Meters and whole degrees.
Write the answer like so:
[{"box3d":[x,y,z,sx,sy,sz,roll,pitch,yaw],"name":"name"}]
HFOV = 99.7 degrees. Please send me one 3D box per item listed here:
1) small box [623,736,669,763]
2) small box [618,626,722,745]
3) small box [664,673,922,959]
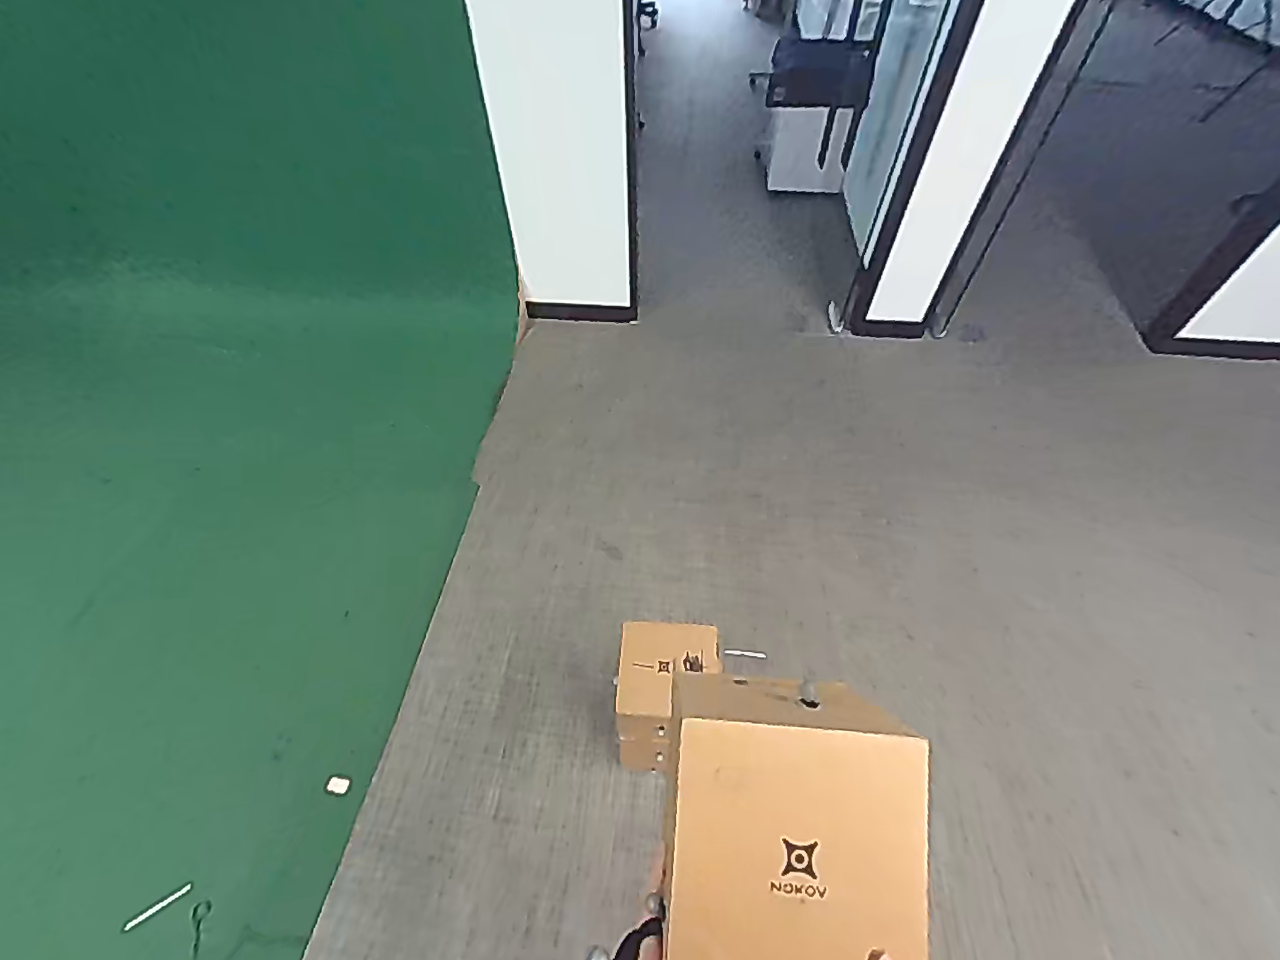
[{"box3d":[0.054,0.486,1.143,0.168,0.176,0.179,1,53,3],"name":"small box"},{"box3d":[0.058,0.389,1.010,0.179,0.176,0.168,2,52,4],"name":"small box"},{"box3d":[0.107,0.265,0.439,0.168,0.176,0.179,3,83,3],"name":"small box"}]
